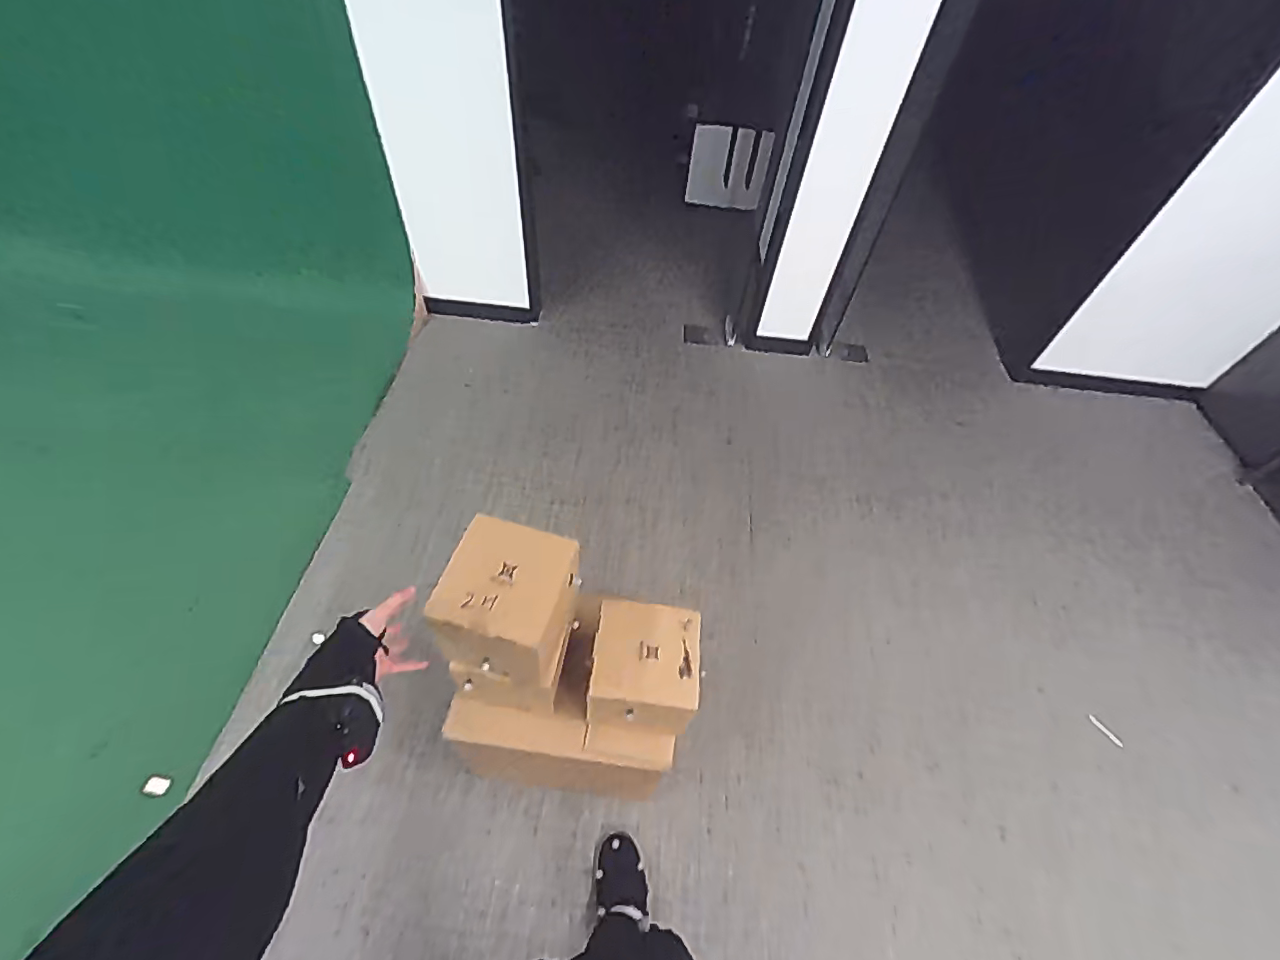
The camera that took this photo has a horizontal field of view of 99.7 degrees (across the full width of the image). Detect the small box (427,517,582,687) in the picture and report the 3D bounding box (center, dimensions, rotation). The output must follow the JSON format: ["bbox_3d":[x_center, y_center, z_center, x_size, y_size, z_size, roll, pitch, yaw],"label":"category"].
[{"bbox_3d":[-0.196,0.190,0.830,0.168,0.176,0.179,15,53,5],"label":"small box"}]
